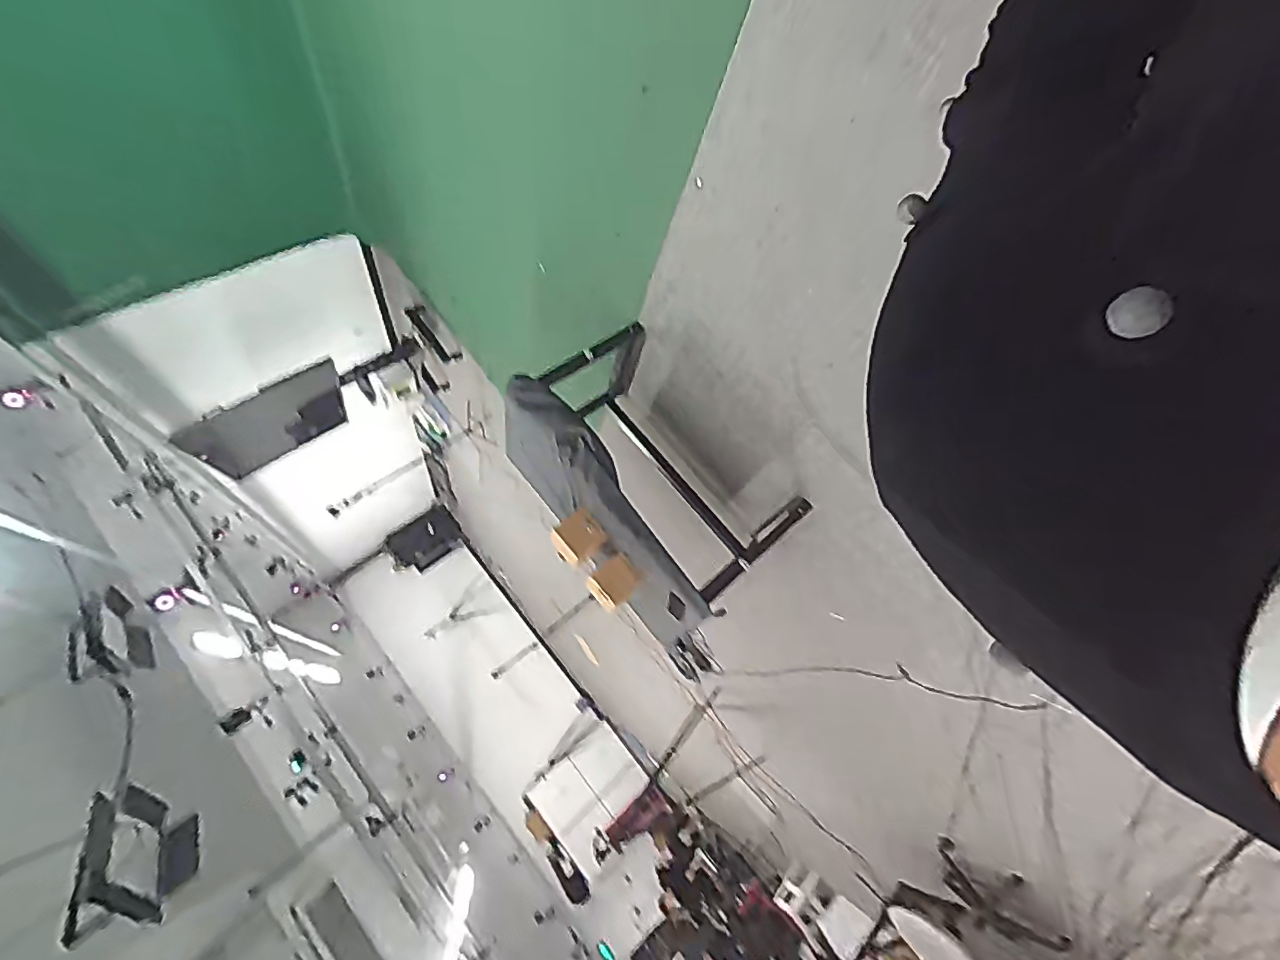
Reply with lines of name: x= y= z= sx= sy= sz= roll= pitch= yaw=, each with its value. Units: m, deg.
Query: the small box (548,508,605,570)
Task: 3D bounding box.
small box: x=-0.270 y=0.251 z=2.297 sx=0.168 sy=0.176 sz=0.179 roll=46 pitch=152 yaw=12

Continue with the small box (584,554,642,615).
small box: x=-0.111 y=0.432 z=2.249 sx=0.168 sy=0.176 sz=0.179 roll=48 pitch=155 yaw=11
